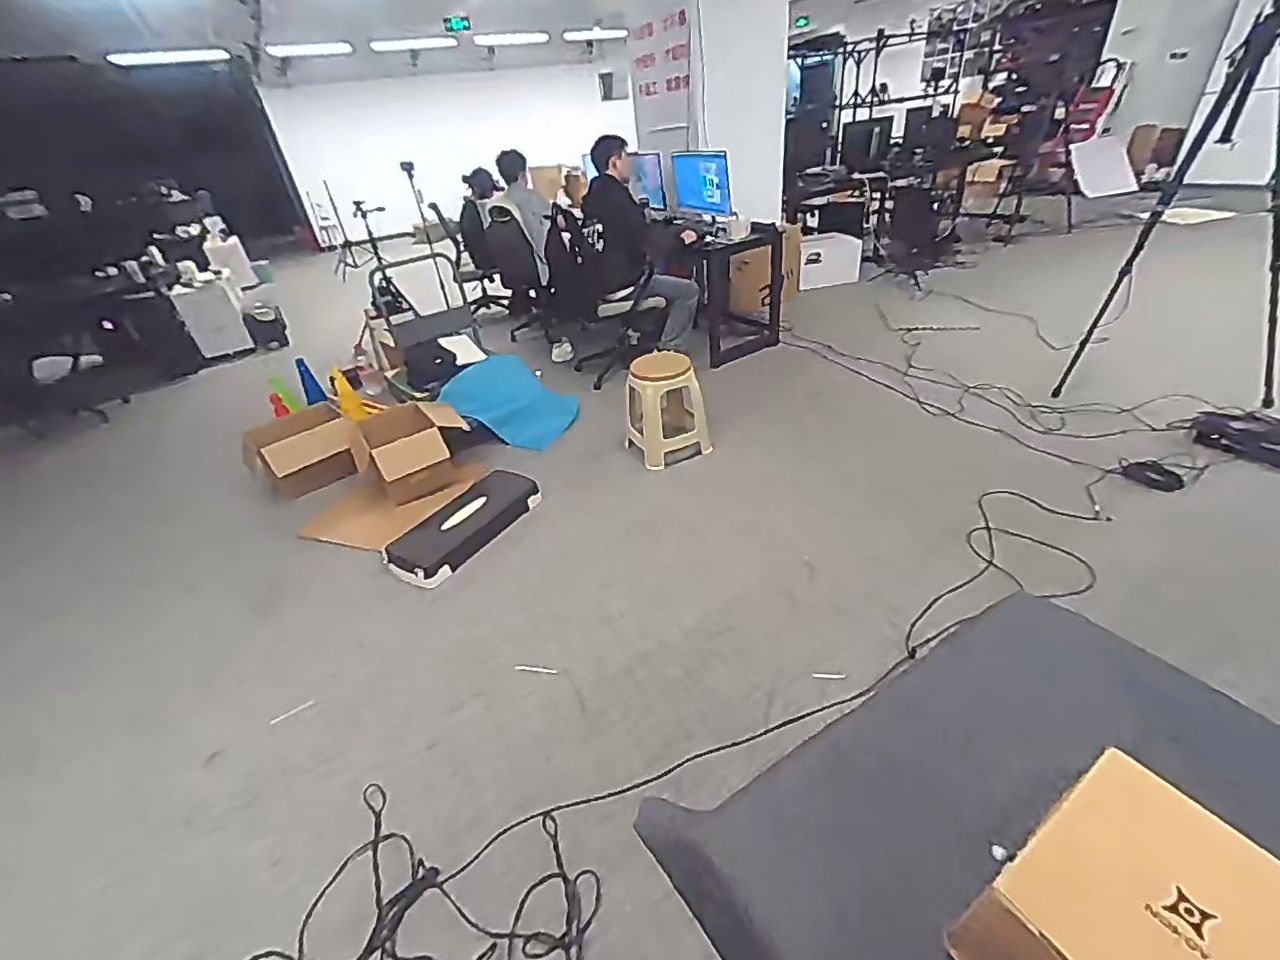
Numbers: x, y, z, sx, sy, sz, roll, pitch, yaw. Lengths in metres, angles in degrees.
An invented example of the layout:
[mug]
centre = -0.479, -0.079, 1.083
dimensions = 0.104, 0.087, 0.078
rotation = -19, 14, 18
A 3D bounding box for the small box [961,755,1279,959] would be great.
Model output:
[small box]
centre = 0.386, 0.365, 0.419
dimensions = 0.179, 0.176, 0.168
rotation = -28, 41, -21
